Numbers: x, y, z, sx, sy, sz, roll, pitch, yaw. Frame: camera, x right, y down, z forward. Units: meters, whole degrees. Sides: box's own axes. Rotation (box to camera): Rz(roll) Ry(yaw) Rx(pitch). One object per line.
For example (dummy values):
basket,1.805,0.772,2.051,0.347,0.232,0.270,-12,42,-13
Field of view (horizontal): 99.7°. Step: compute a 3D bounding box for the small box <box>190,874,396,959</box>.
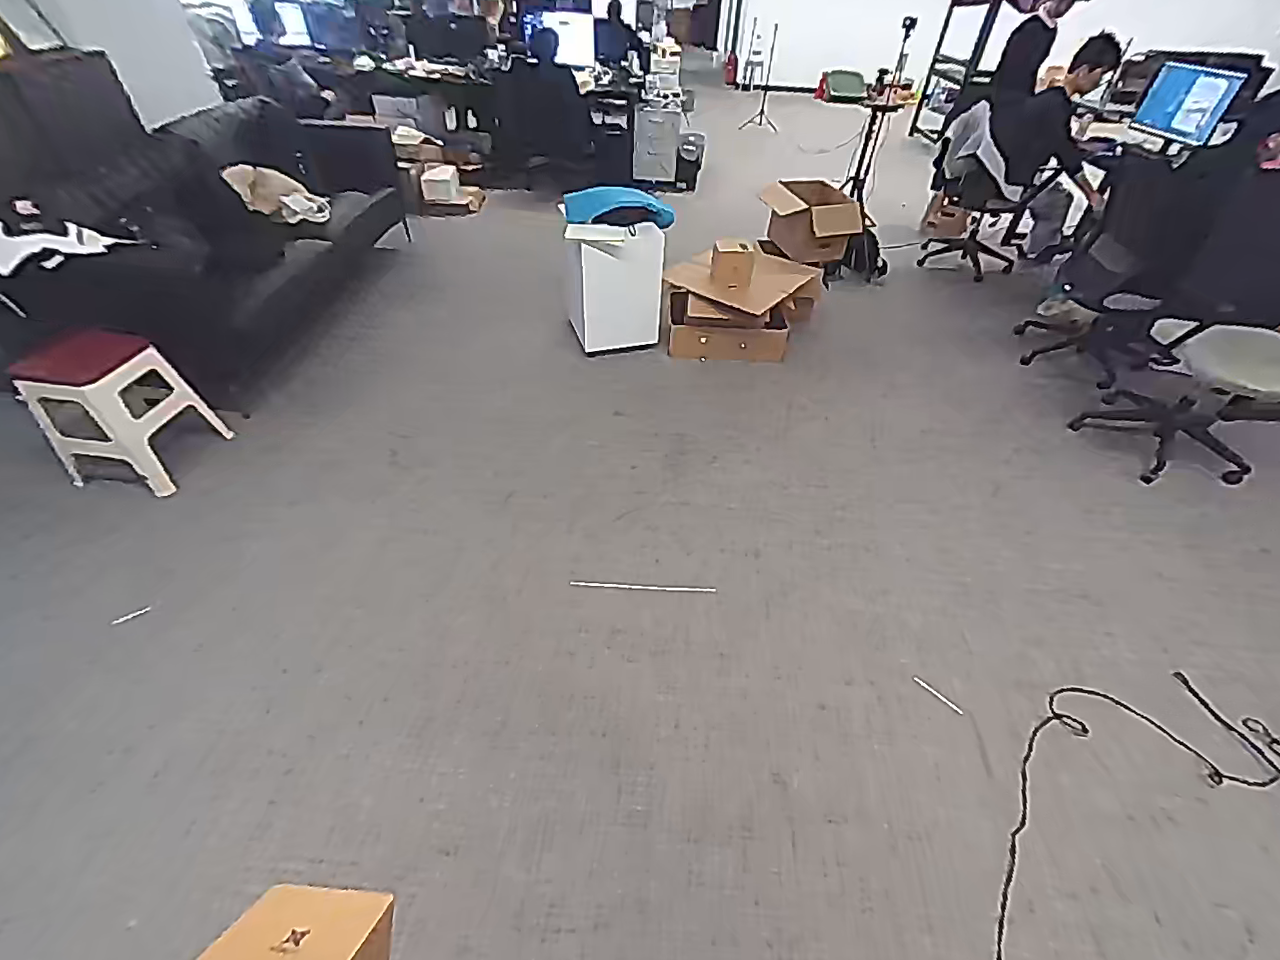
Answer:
small box,-0.416,0.617,0.638,0.168,0.179,0.176,5,88,2
